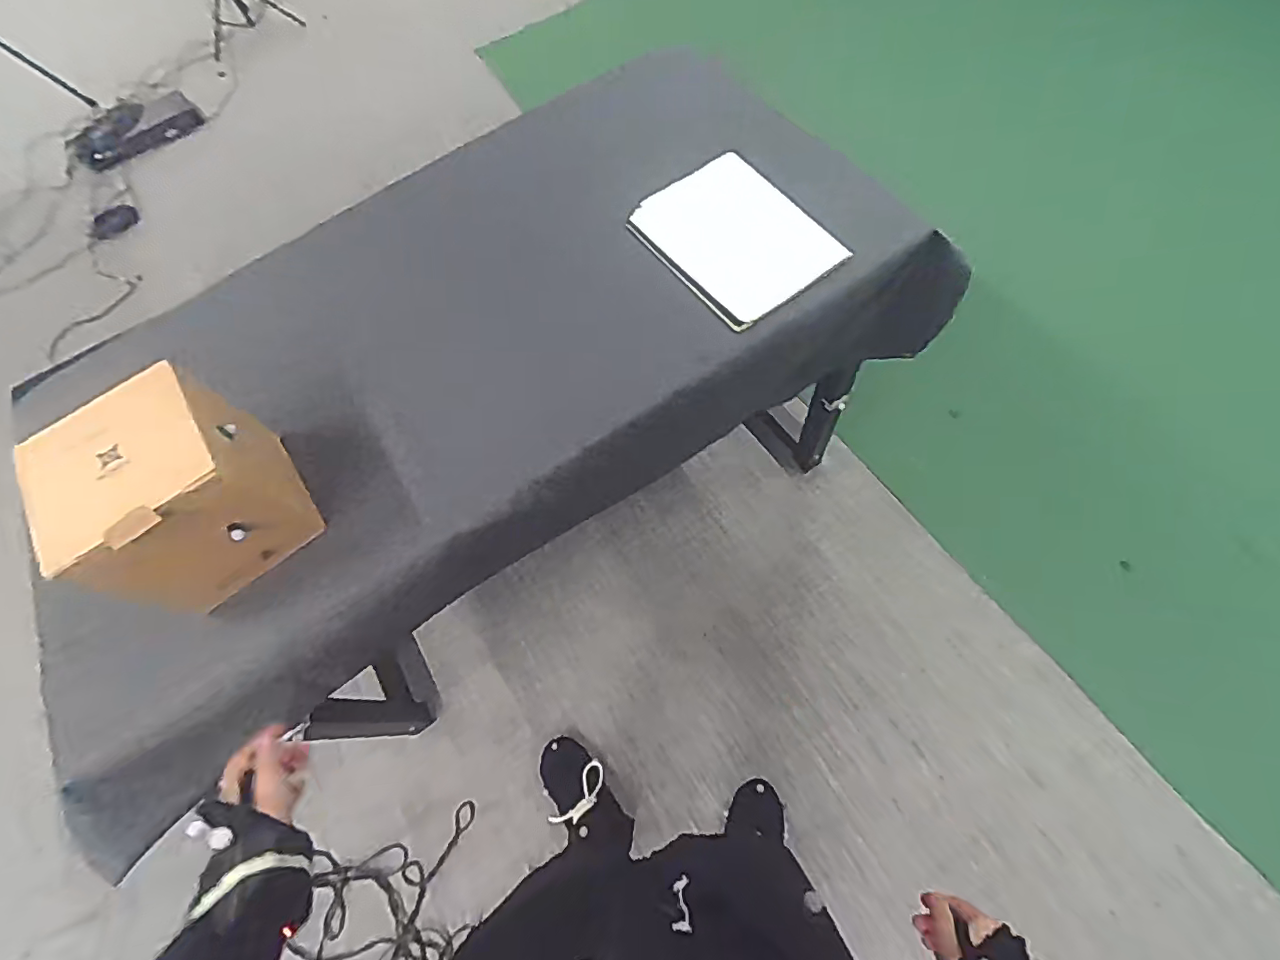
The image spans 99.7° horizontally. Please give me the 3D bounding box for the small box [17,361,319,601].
[{"bbox_3d":[-0.498,0.013,0.593,0.168,0.176,0.179,-37,65,-11],"label":"small box"}]
